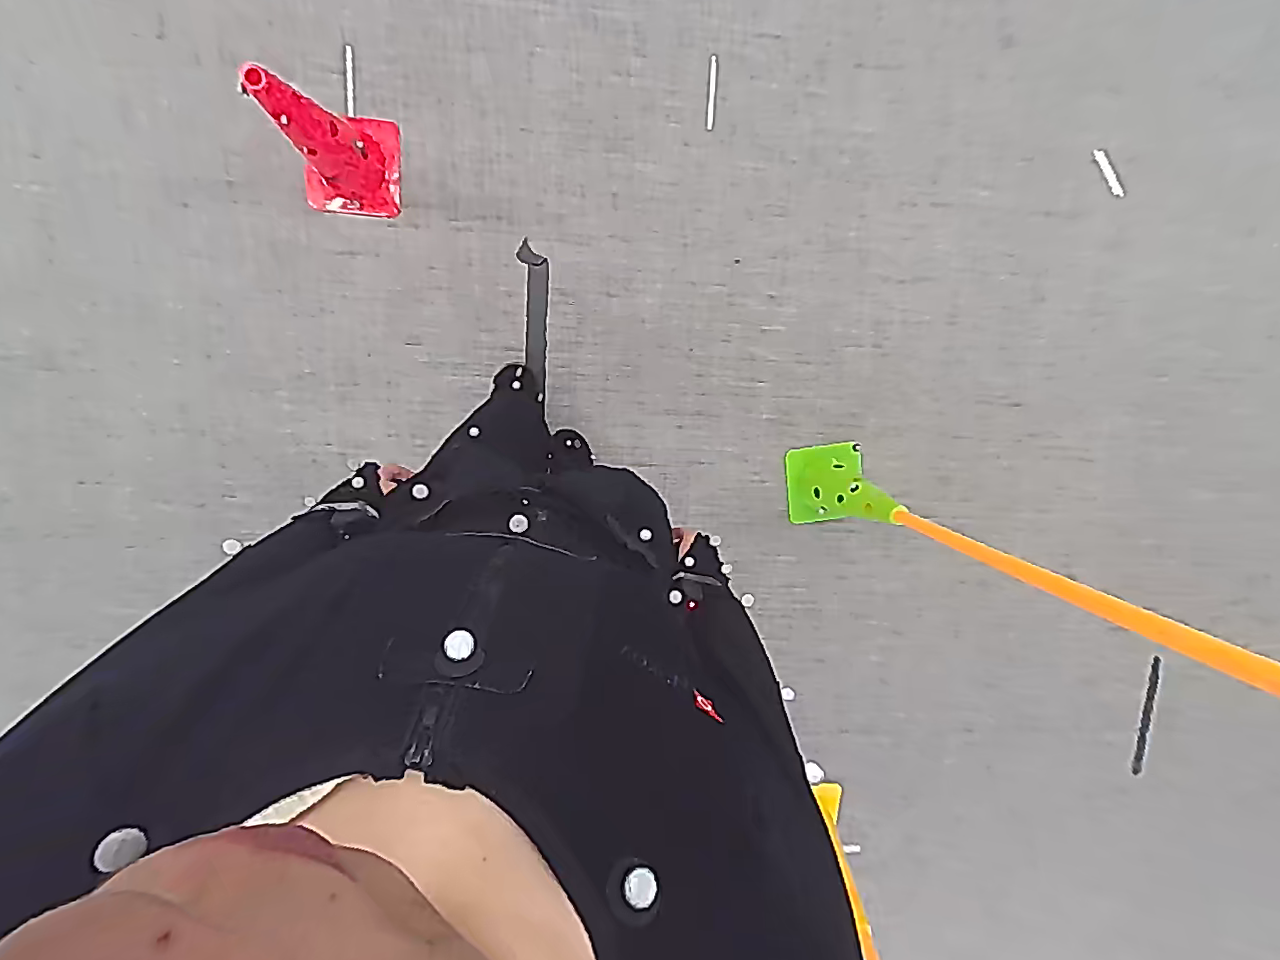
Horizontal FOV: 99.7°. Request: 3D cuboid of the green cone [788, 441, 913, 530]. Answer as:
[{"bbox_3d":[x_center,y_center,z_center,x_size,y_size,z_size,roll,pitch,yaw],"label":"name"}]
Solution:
[{"bbox_3d":[0.497,0.041,1.232,0.200,0.368,0.202,-8,102,-3],"label":"green cone"}]
